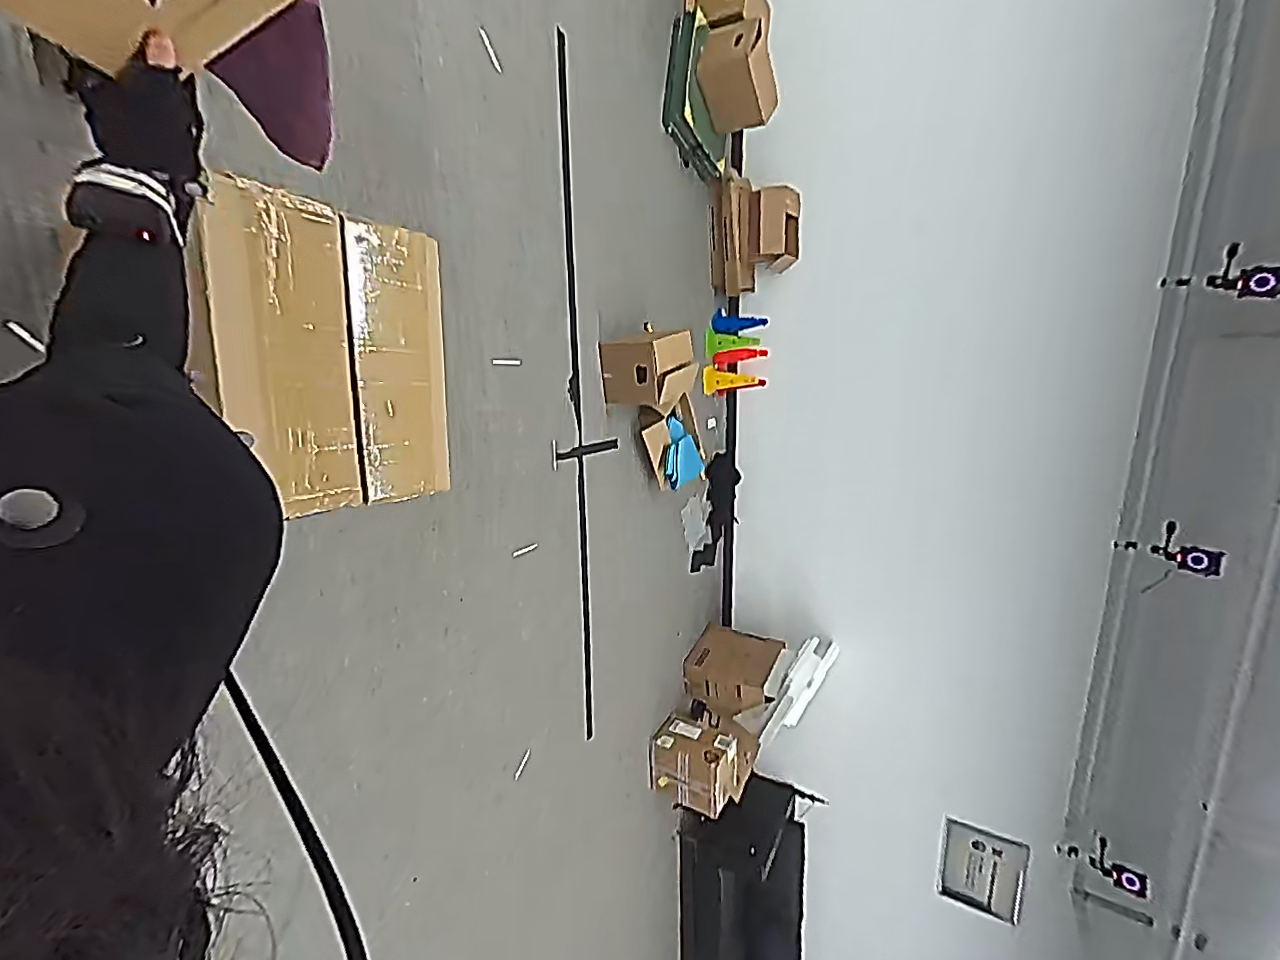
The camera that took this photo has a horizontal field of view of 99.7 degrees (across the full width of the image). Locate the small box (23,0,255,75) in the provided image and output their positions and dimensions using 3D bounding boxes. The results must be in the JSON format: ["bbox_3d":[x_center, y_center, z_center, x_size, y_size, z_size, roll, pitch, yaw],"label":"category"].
[{"bbox_3d":[-0.409,-0.450,0.377,0.176,0.168,0.179,58,2,-15],"label":"small box"}]
